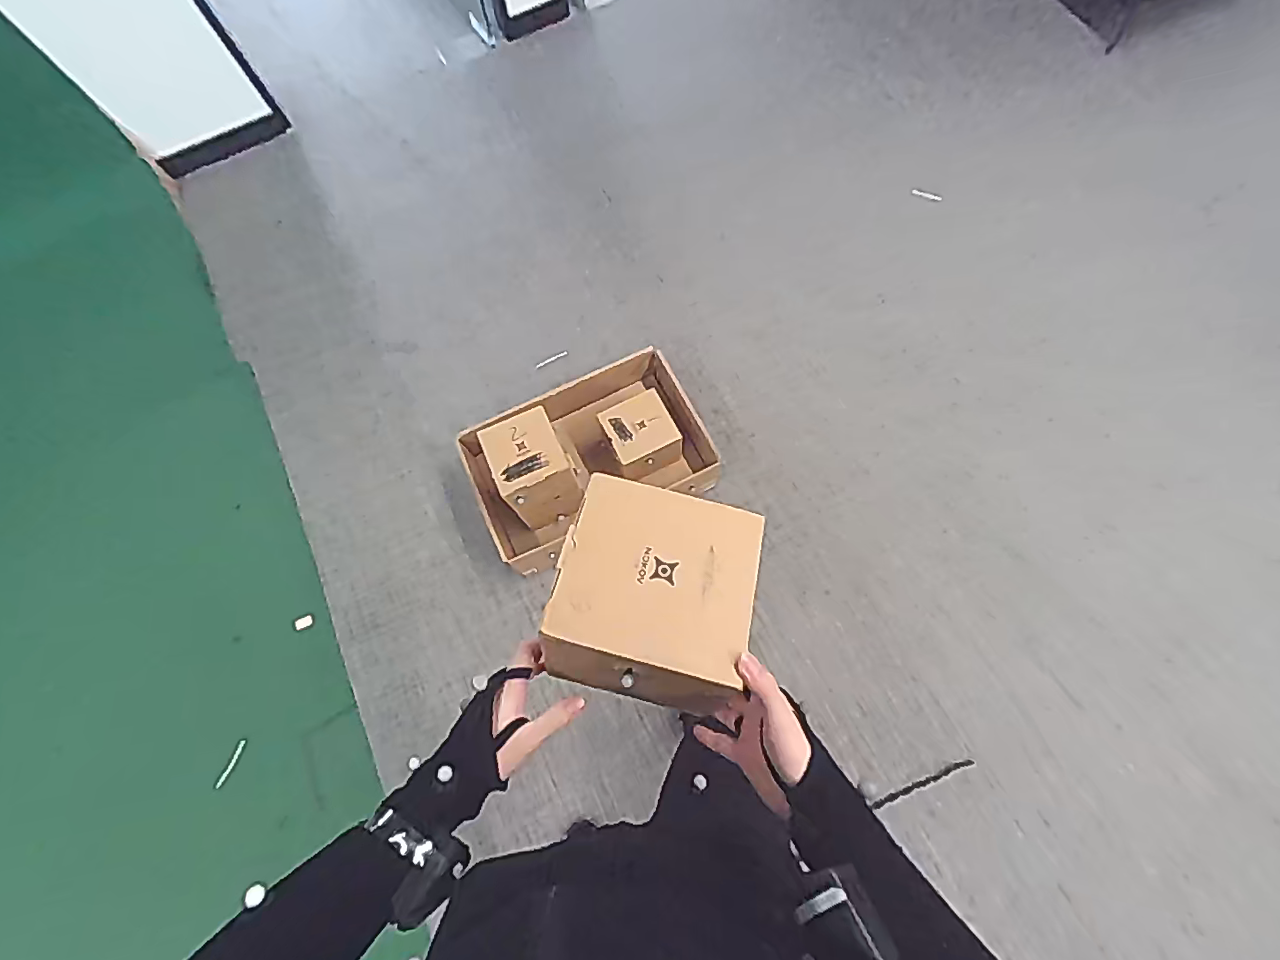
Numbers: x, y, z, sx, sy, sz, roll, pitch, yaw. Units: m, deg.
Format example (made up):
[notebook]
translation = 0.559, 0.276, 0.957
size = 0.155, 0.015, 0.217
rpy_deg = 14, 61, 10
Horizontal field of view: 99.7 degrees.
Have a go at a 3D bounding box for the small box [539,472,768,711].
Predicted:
[small box]
translation = 0.013, 0.120, 0.547
size = 0.179, 0.176, 0.168
rpy_deg = 15, 59, 3
